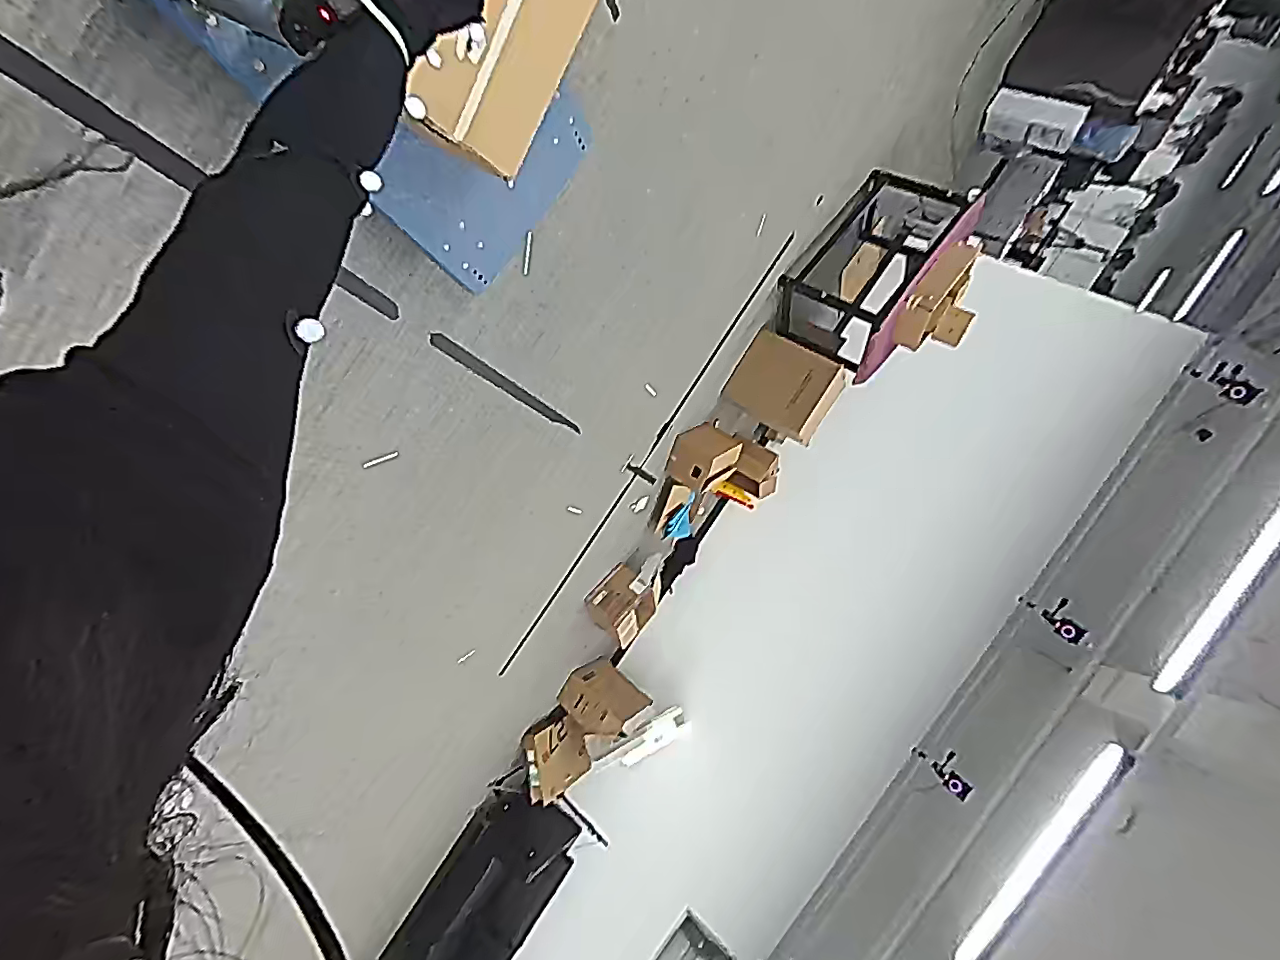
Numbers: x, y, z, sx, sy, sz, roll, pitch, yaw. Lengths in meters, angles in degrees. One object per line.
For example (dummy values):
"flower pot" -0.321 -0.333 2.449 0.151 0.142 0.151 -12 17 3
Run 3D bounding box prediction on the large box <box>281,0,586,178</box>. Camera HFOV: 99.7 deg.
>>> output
"large box" -0.356 -0.863 0.972 0.408 0.320 0.320 -58 156 13
